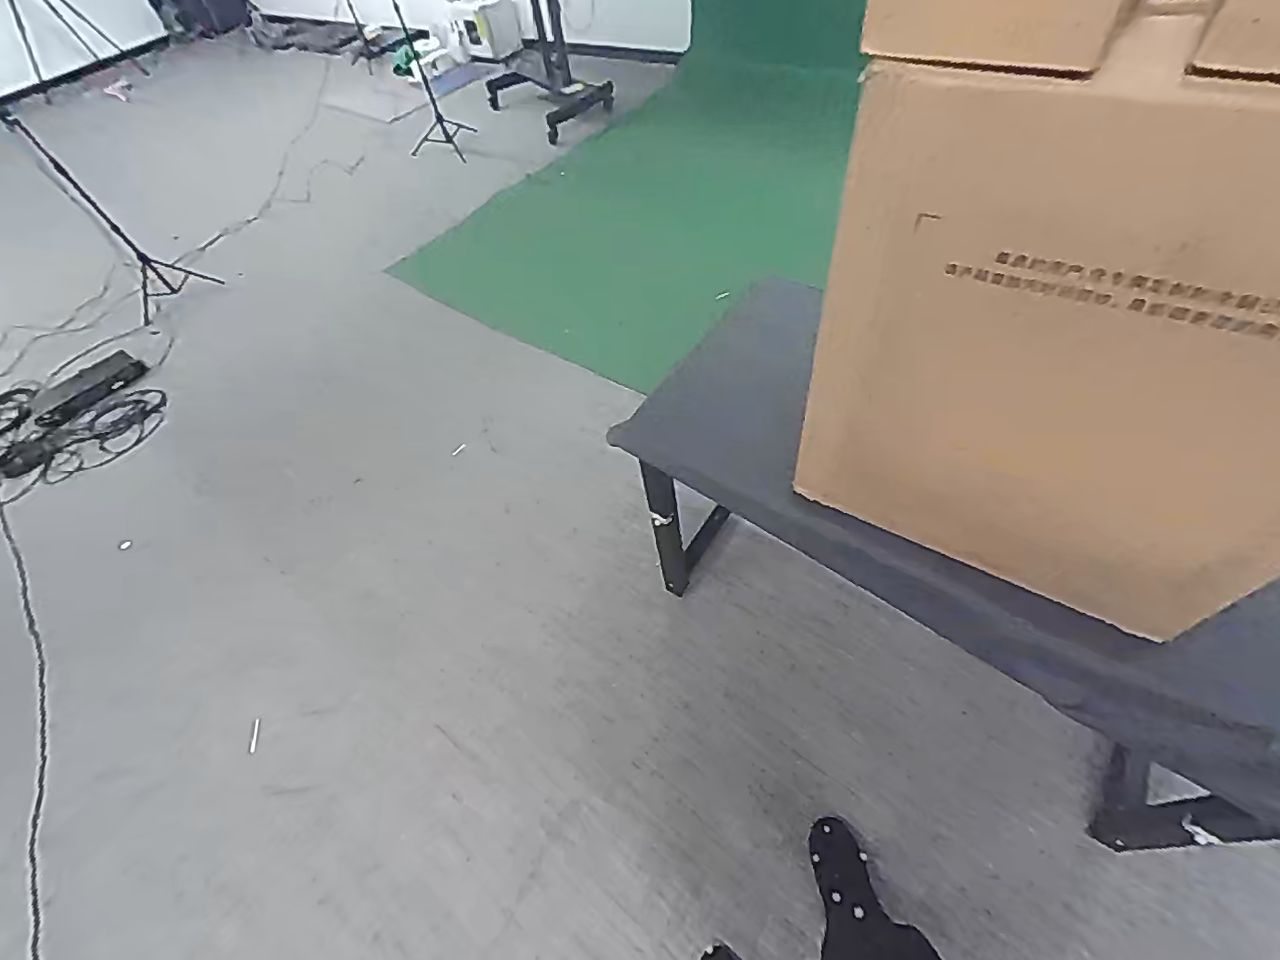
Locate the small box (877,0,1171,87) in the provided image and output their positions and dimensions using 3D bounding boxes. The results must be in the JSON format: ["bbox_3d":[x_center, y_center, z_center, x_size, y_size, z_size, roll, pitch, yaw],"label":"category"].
[{"bbox_3d":[0.298,-0.413,0.386,0.179,0.176,0.168,33,68,28],"label":"small box"}]
